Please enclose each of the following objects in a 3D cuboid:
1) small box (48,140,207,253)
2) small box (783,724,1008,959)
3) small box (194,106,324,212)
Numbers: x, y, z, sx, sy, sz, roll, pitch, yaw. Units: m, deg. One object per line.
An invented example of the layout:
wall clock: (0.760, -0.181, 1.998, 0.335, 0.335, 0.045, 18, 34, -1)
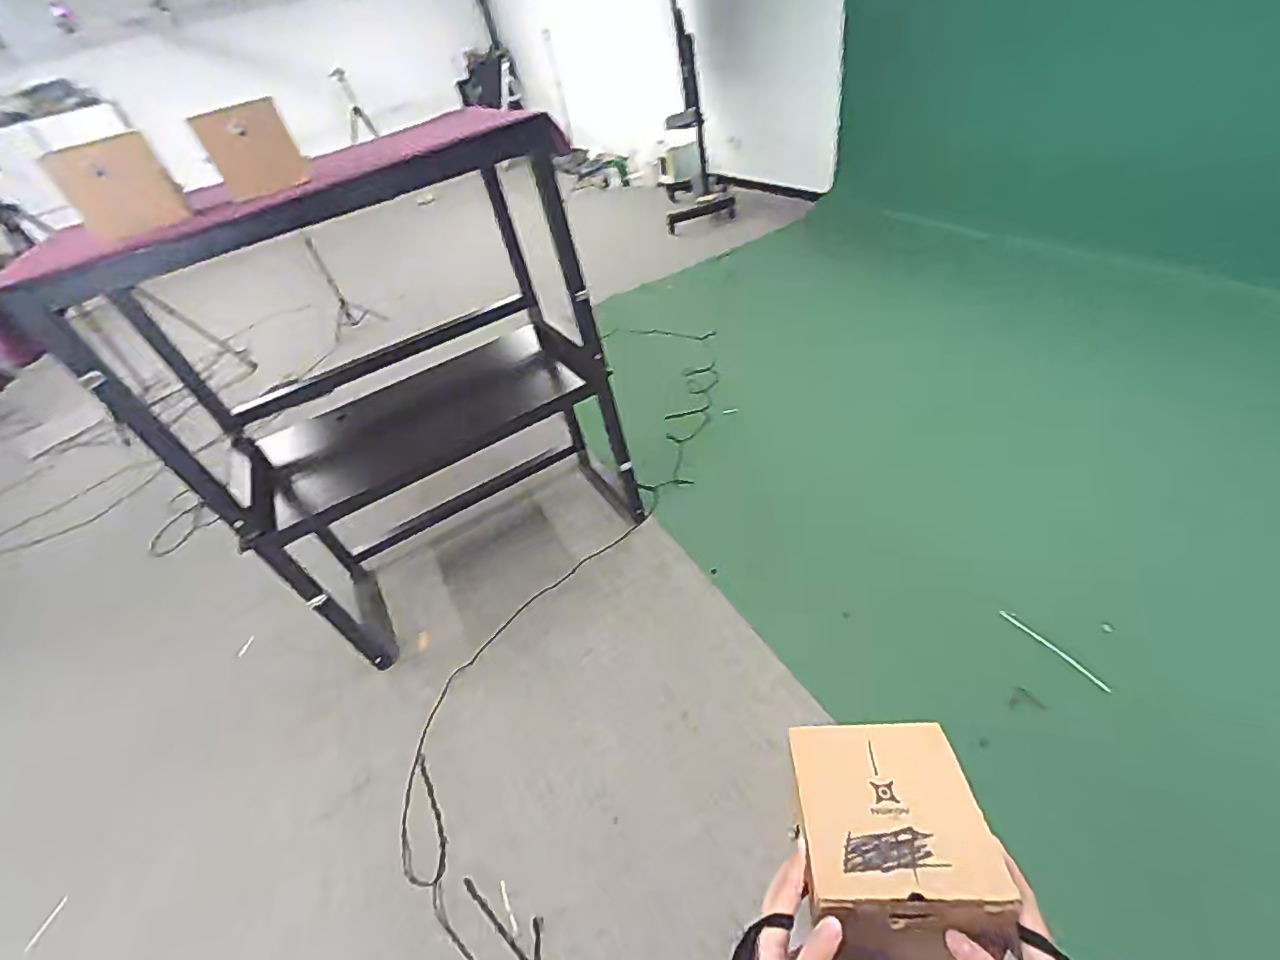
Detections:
small box: (-1.089, -0.611, 1.167, 0.179, 0.176, 0.168, -30, 44, -17)
small box: (0.250, 0.389, 0.569, 0.168, 0.176, 0.179, -6, 27, 9)
small box: (-0.858, -0.731, 1.232, 0.179, 0.176, 0.168, -28, 42, -15)
